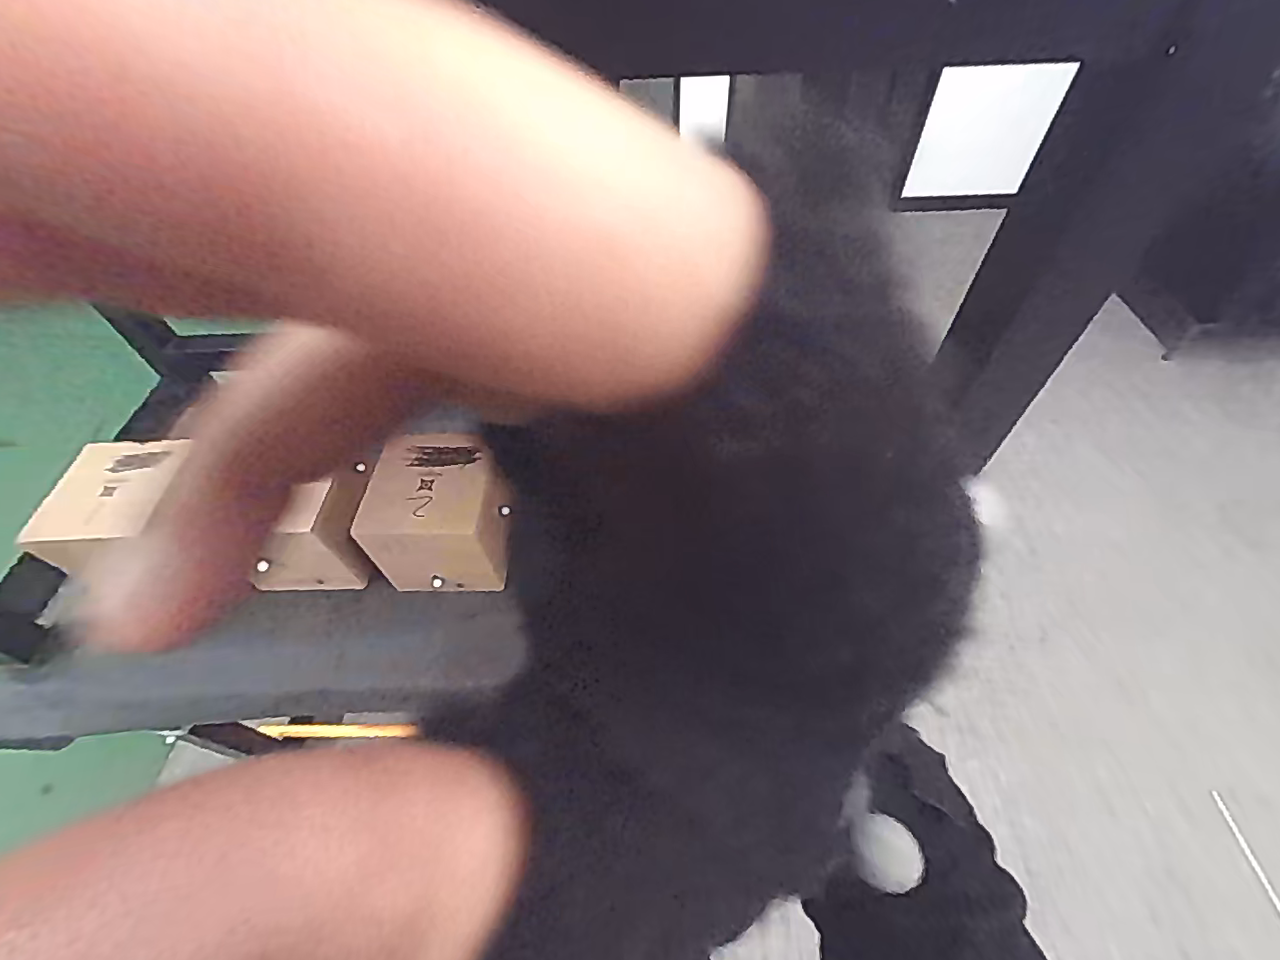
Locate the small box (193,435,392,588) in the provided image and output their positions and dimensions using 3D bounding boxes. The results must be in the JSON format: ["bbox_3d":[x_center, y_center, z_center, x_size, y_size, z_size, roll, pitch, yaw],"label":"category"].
[{"bbox_3d":[-0.504,0.052,0.820,0.168,0.176,0.179,-1,51,1],"label":"small box"}]

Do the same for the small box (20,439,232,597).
[{"bbox_3d":[-0.731,0.059,0.820,0.168,0.176,0.179,-3,51,0],"label":"small box"}]
